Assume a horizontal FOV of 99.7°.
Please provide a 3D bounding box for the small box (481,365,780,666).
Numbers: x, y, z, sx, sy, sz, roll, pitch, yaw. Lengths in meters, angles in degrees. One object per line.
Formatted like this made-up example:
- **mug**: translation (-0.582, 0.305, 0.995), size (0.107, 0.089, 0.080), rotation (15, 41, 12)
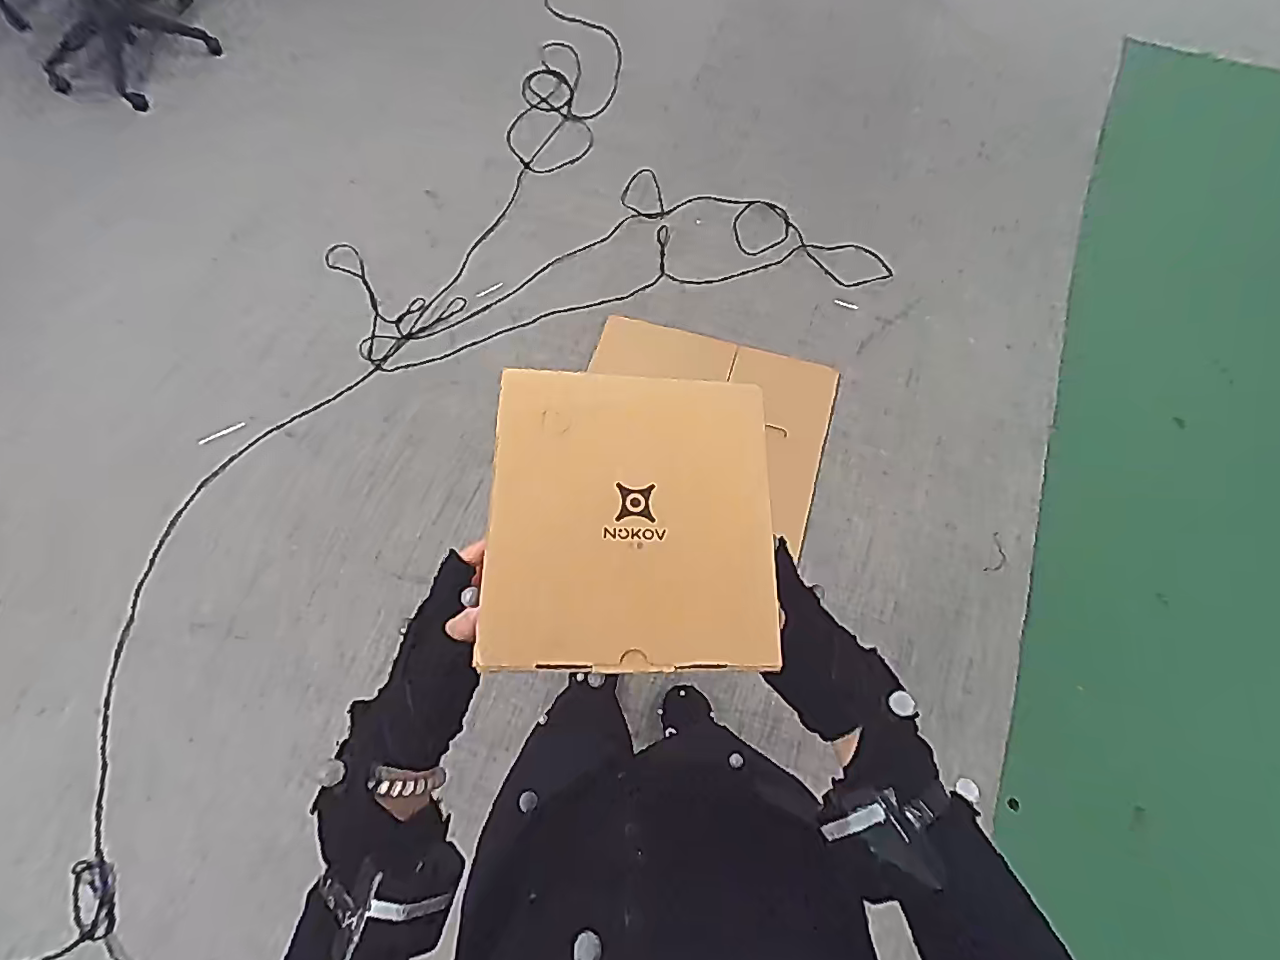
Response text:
- **small box**: translation (-0.013, 0.039, 0.389), size (0.168, 0.176, 0.179), rotation (2, 73, -7)
